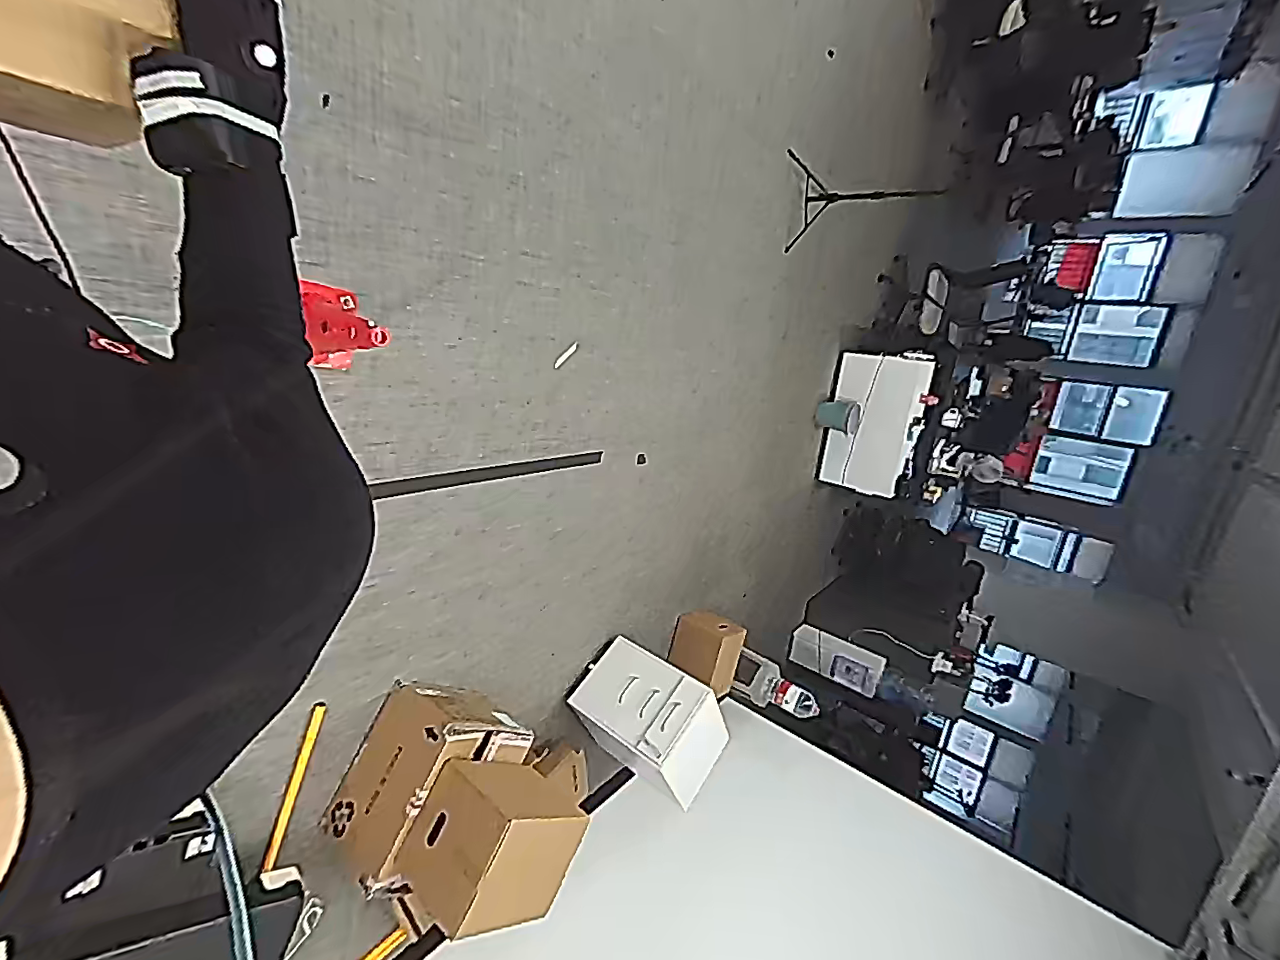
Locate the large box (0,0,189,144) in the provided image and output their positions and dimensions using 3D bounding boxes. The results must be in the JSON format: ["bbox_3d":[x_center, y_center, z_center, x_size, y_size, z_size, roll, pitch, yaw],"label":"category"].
[{"bbox_3d":[-0.550,-0.425,0.290,0.408,0.320,0.320,-11,117,-50],"label":"large box"}]

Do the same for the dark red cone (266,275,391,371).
[{"bbox_3d":[-0.666,-0.331,1.211,0.201,0.394,0.202,-2,106,-51],"label":"dark red cone"}]
